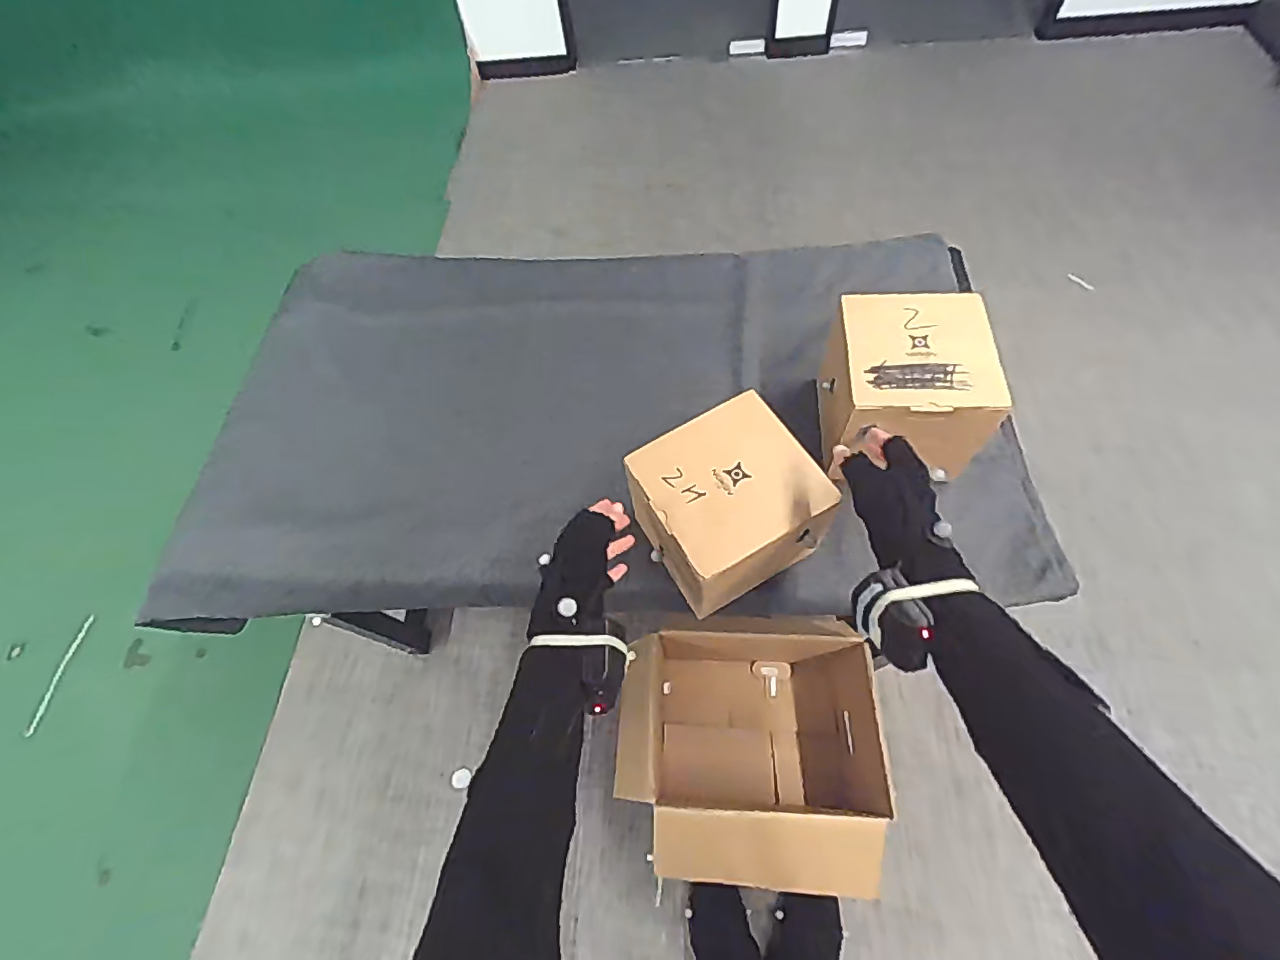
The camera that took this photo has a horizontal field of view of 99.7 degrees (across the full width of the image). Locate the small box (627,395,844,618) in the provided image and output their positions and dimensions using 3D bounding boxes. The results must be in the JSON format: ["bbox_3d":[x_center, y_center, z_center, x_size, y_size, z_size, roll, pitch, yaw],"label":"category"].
[{"bbox_3d":[0.103,0.038,0.642,0.179,0.176,0.168,-29,63,-9],"label":"small box"}]
